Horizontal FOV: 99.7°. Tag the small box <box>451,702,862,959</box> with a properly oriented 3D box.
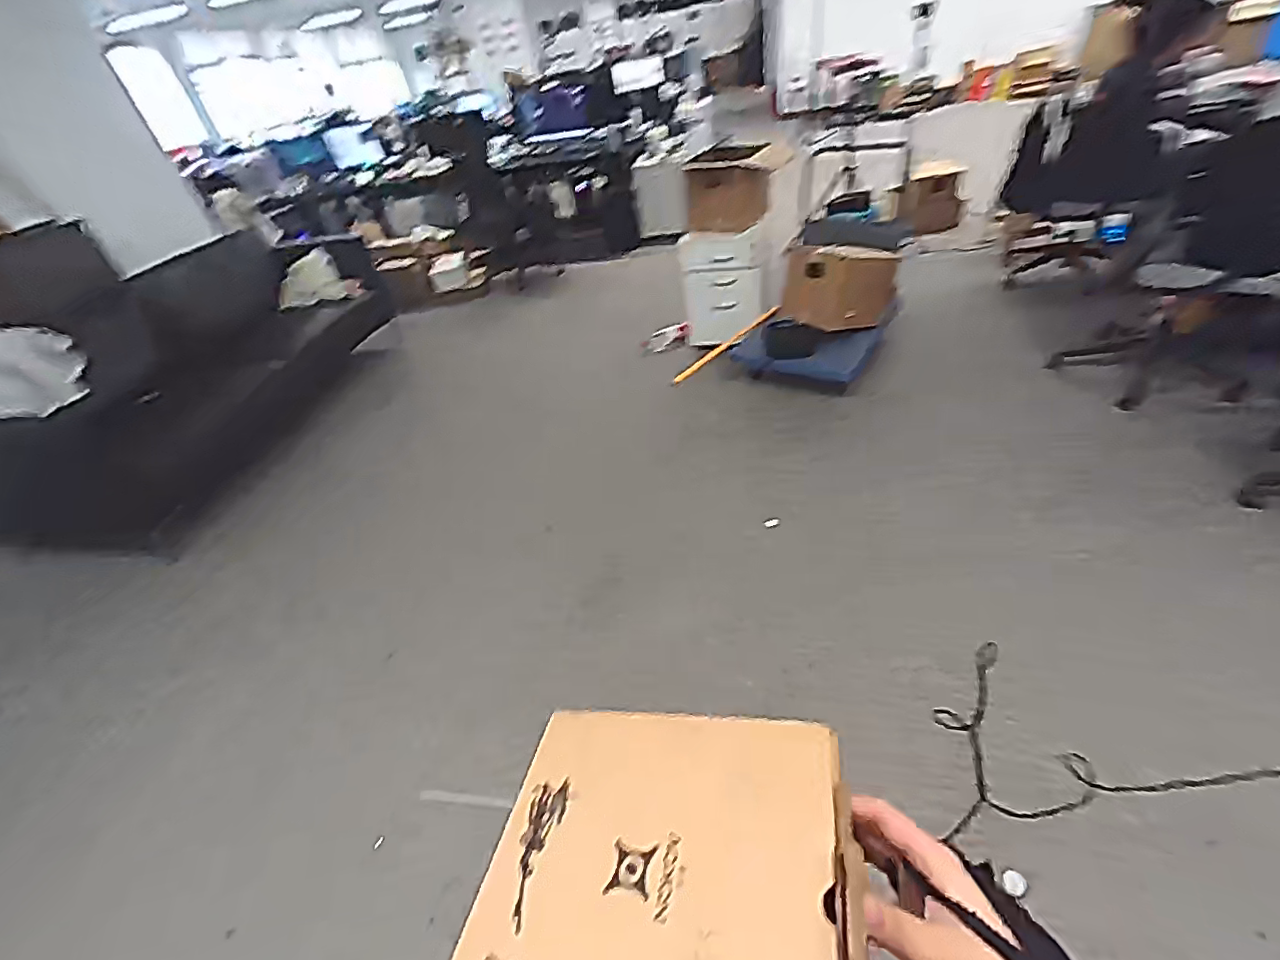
[{"bbox_3d":[0.028,0.253,0.300,0.179,0.176,0.168,-4,32,22],"label":"small box"}]
